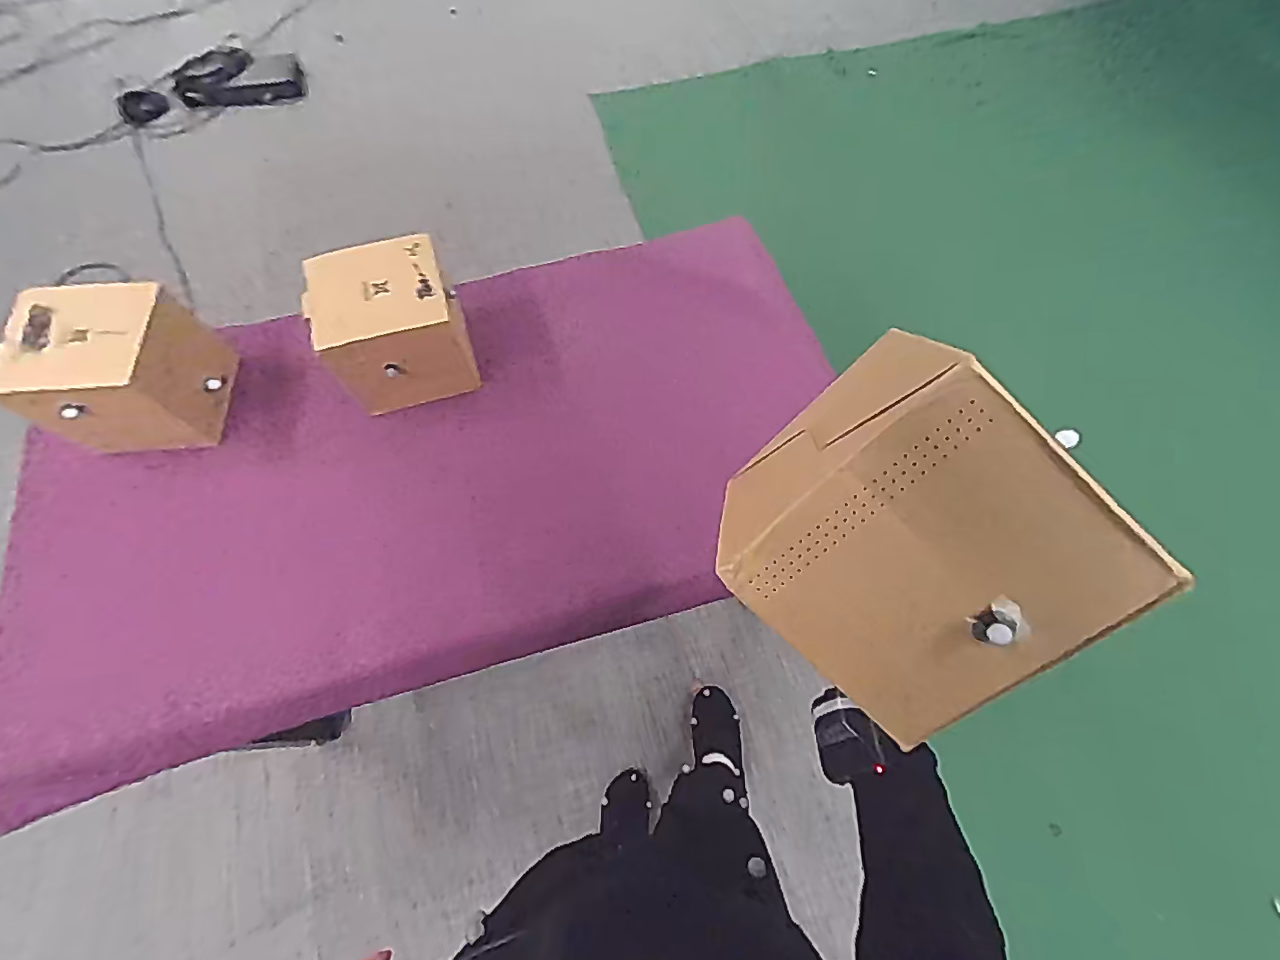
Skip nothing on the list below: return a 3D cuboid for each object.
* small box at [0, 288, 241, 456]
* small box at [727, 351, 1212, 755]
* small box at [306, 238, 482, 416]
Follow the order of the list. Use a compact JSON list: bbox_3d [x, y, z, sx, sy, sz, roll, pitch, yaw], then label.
[{"bbox_3d":[-0.714,-0.143,0.757,0.179,0.176,0.168,-4,67,-4],"label":"small box"},{"bbox_3d":[0.179,0.029,0.359,0.176,0.168,0.179,43,112,-4],"label":"small box"},{"bbox_3d":[-0.354,-0.216,0.799,0.179,0.176,0.168,-17,69,-8],"label":"small box"}]
